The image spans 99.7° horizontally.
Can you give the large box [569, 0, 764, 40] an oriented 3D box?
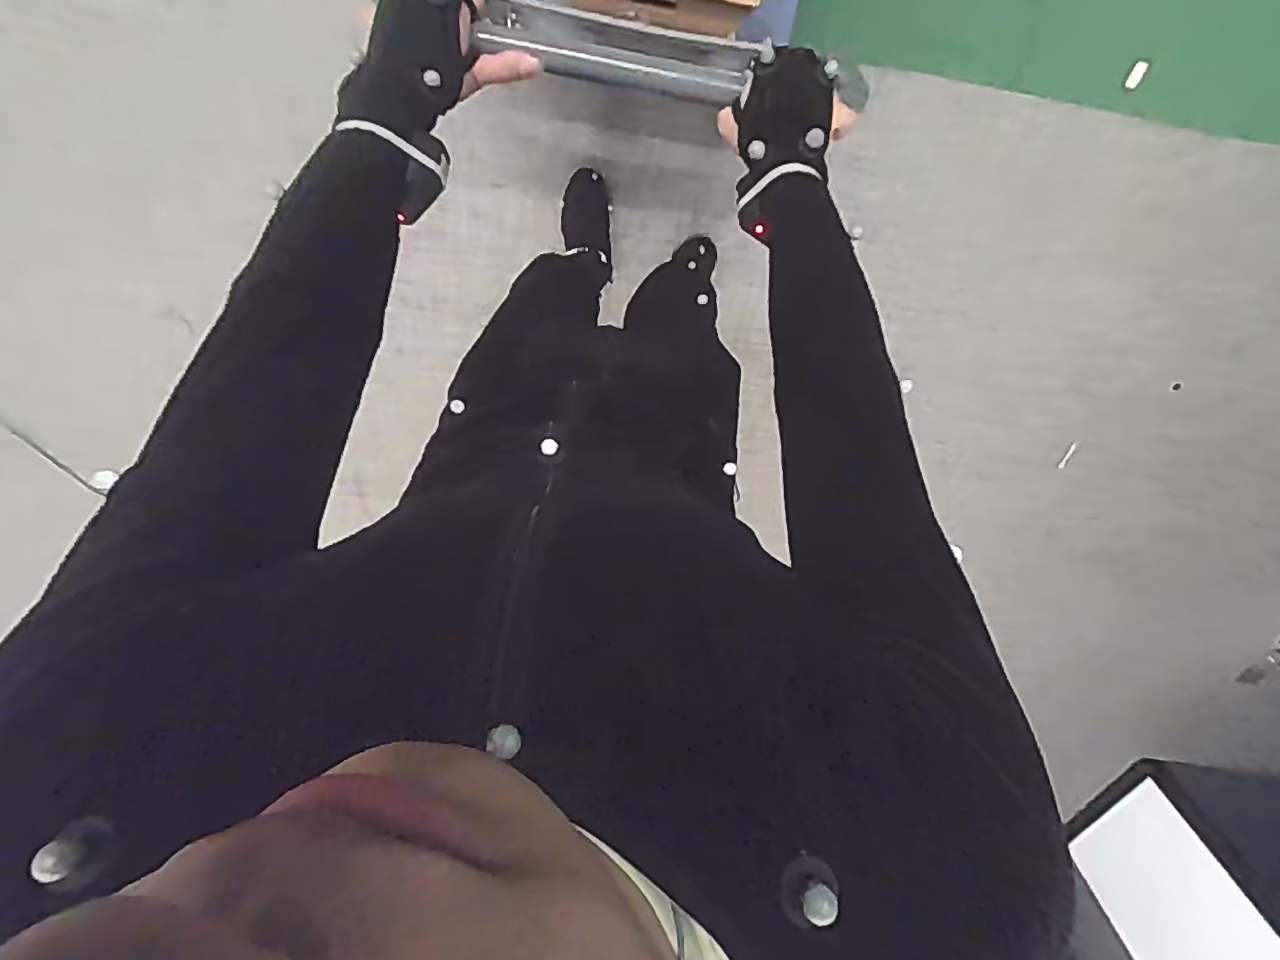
[{"bbox_3d":[0.051,-0.932,0.781,0.320,0.320,0.408,7,122,-5],"label":"large box"}]
